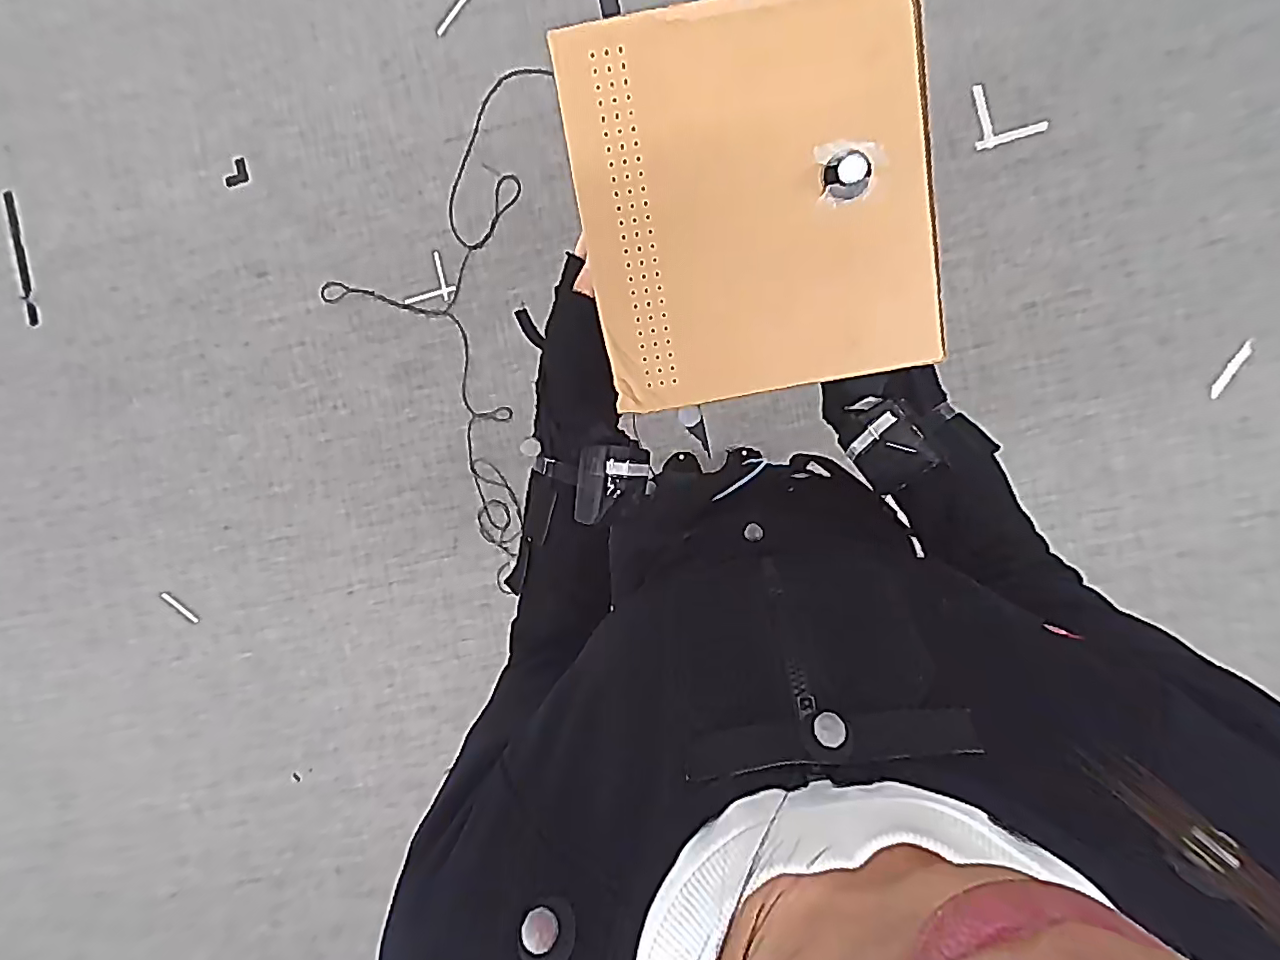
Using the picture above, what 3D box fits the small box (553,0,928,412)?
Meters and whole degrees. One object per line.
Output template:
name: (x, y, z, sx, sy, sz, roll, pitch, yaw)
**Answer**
small box: (0.051, -0.148, 0.342, 0.176, 0.168, 0.179, -10, 101, 3)
